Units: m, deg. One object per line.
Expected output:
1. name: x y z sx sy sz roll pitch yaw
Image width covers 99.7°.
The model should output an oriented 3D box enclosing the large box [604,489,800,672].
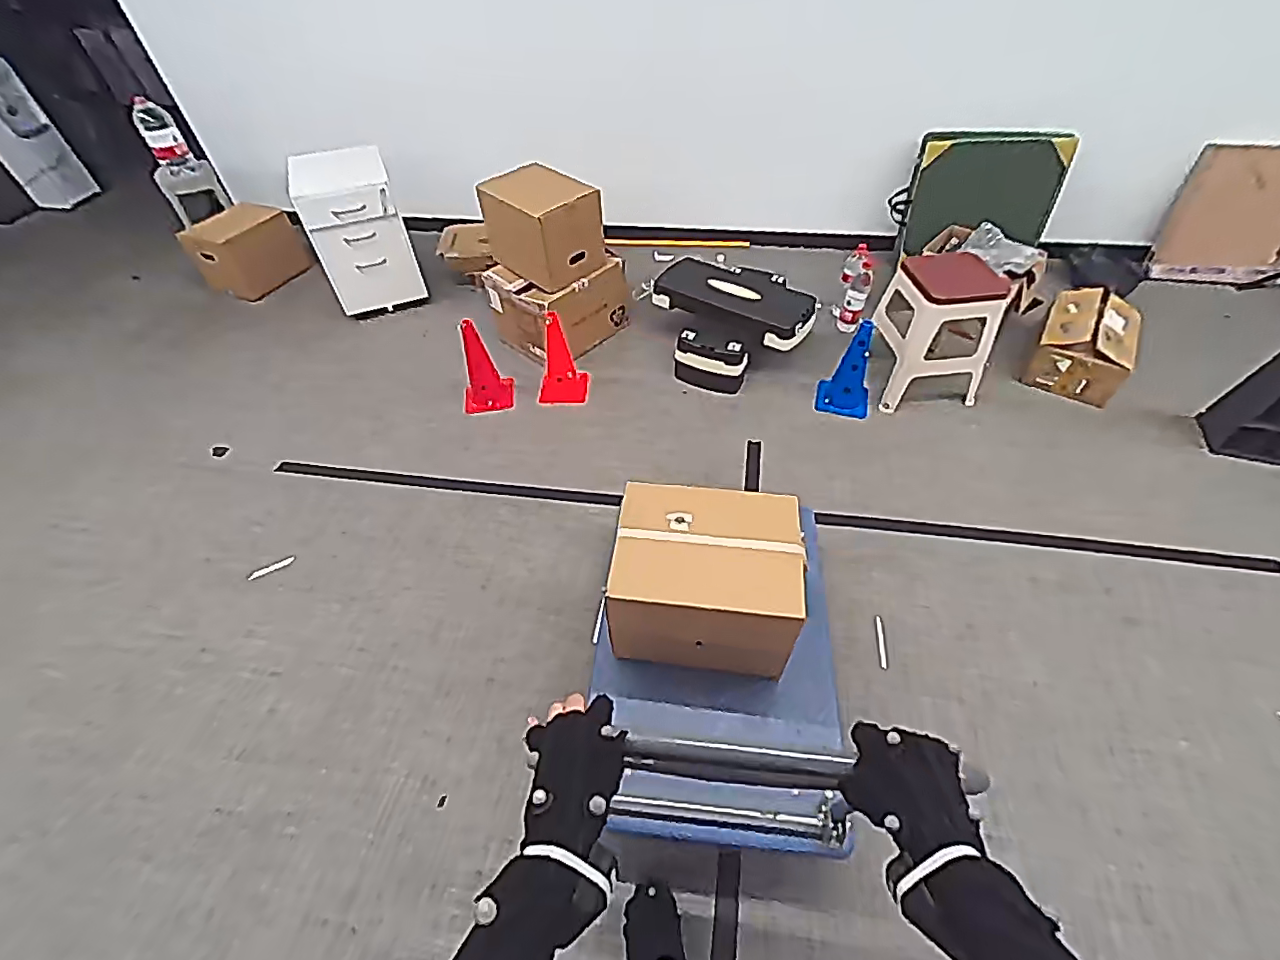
1. large box: 0.150 0.245 1.301 0.408 0.320 0.320 4 50 7
